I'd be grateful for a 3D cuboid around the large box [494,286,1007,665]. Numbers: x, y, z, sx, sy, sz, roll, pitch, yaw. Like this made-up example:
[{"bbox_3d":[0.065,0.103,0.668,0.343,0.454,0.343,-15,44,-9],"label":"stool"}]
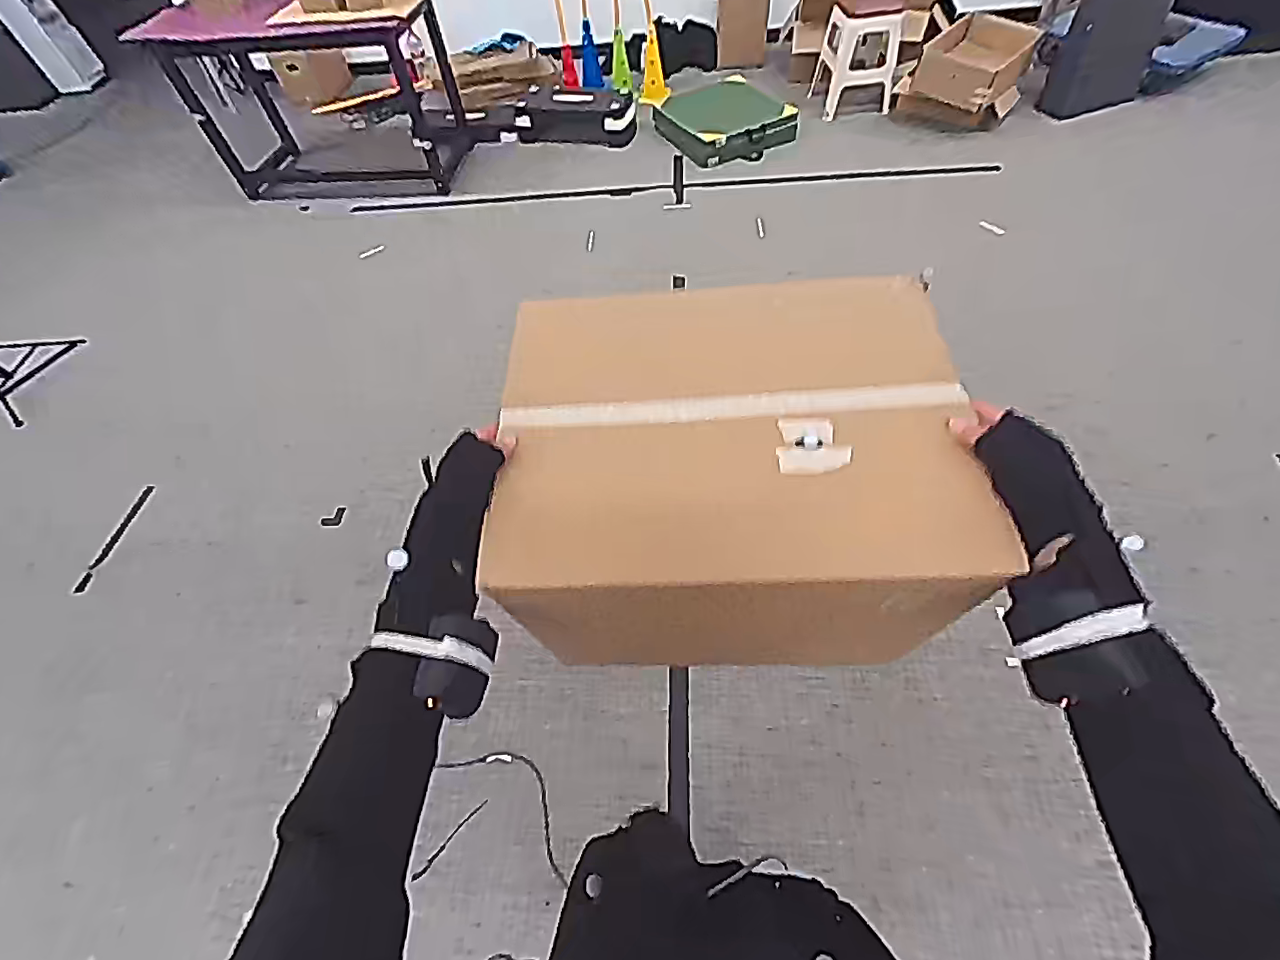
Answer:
[{"bbox_3d":[0.089,0.018,0.617,0.408,0.320,0.320,-2,61,5],"label":"large box"}]
